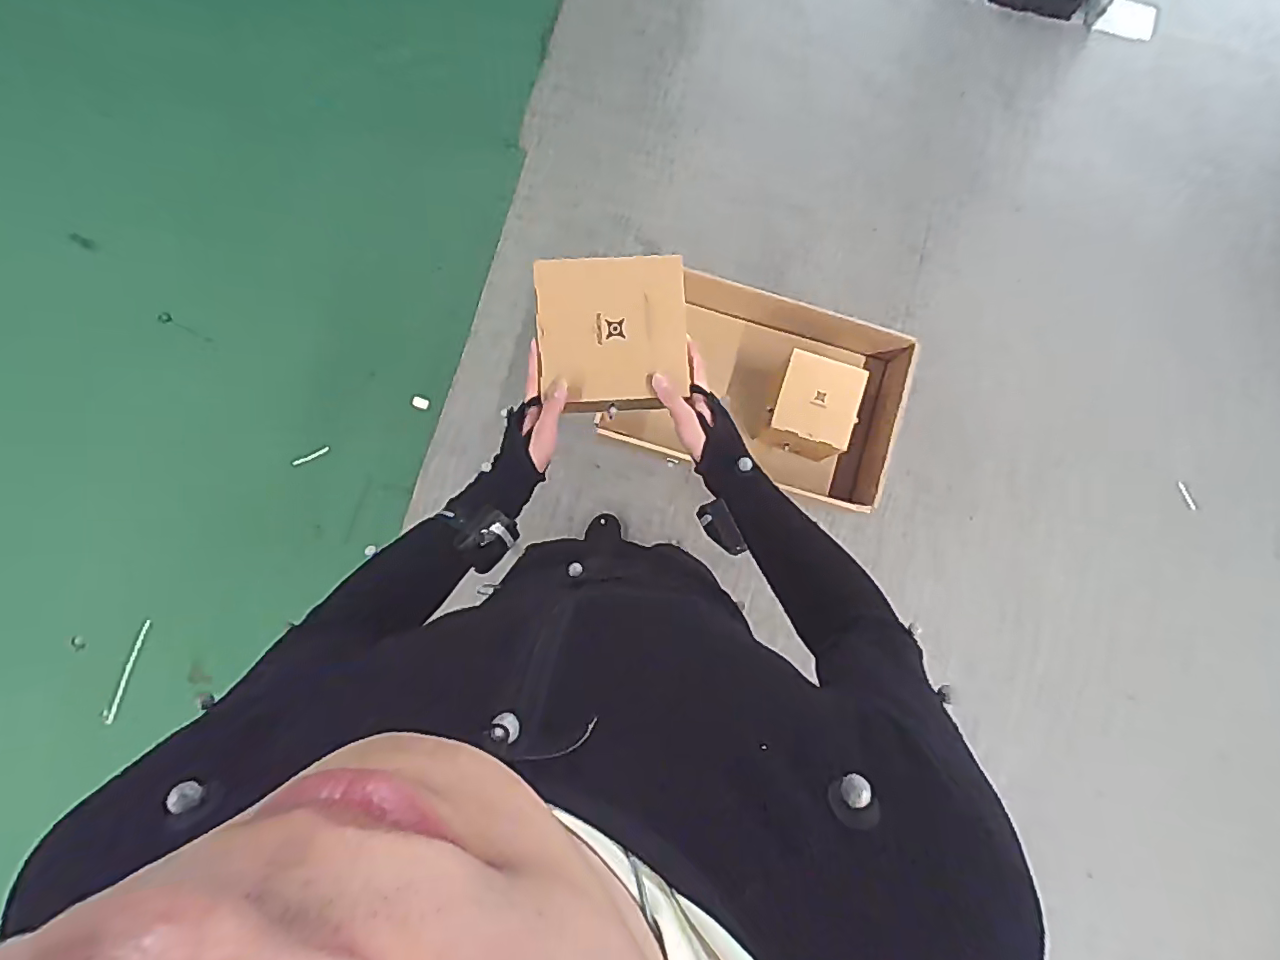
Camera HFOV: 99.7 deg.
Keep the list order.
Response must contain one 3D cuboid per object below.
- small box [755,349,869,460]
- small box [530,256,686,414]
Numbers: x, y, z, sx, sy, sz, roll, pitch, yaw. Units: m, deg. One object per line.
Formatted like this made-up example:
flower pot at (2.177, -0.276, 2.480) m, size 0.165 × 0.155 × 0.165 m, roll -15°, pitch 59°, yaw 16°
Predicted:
small box at (0.366, -0.157, 1.183) m, size 0.168 × 0.176 × 0.179 m, roll 18°, pitch 85°, yaw 1°
small box at (-0.039, -0.177, 0.703) m, size 0.179 × 0.176 × 0.168 m, roll -3°, pitch 93°, yaw -3°
